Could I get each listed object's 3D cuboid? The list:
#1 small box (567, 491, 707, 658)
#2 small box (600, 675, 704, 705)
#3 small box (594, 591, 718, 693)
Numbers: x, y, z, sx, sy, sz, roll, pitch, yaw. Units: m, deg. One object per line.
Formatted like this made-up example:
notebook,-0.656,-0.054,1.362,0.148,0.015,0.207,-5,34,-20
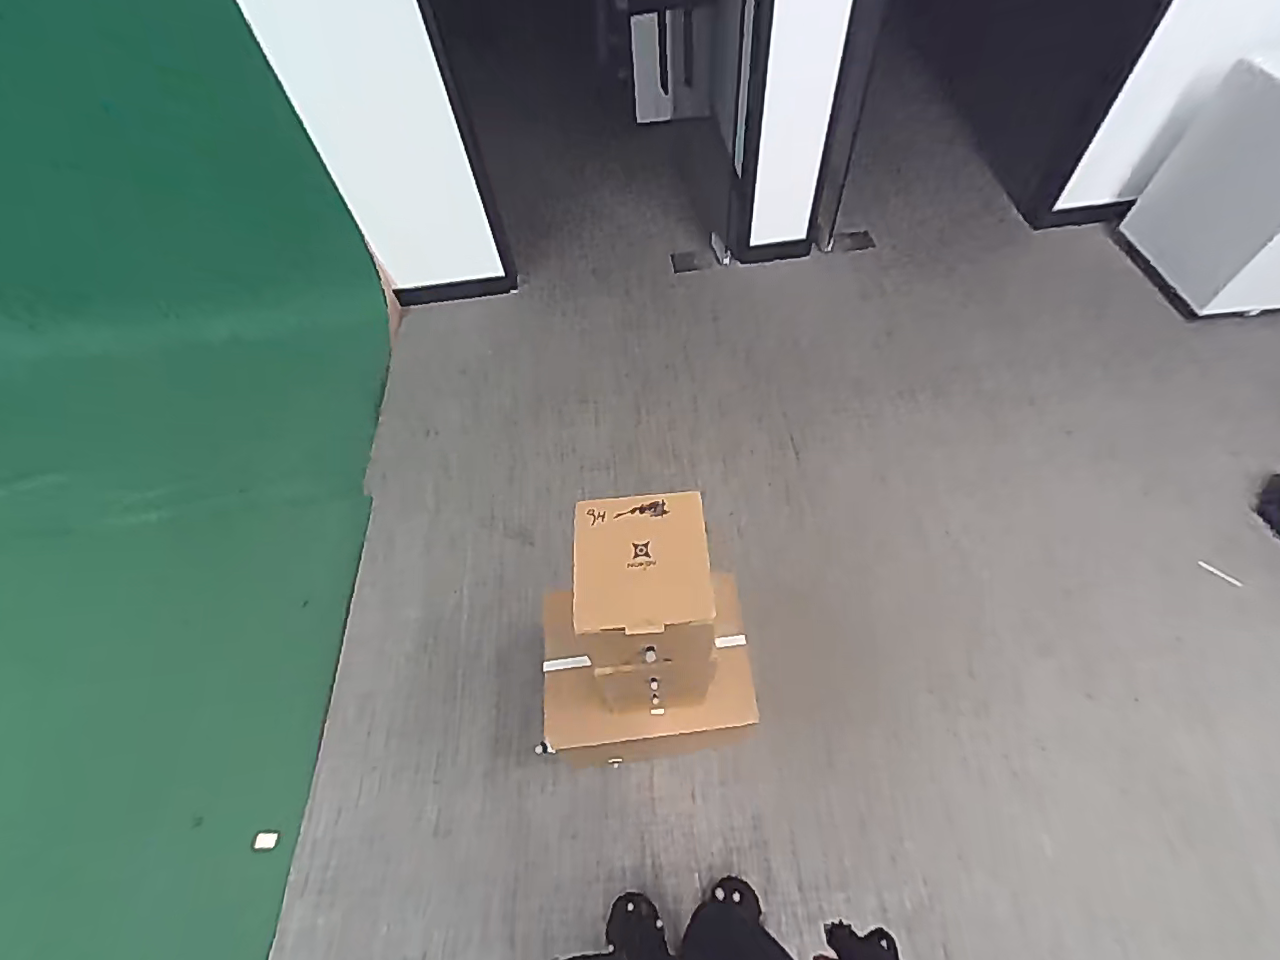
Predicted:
small box,0.002,0.134,0.726,0.168,0.176,0.179,-4,59,3
small box,0.020,0.312,1.000,0.179,0.176,0.168,-5,58,0
small box,0.016,0.229,0.859,0.179,0.176,0.168,-9,58,-2
